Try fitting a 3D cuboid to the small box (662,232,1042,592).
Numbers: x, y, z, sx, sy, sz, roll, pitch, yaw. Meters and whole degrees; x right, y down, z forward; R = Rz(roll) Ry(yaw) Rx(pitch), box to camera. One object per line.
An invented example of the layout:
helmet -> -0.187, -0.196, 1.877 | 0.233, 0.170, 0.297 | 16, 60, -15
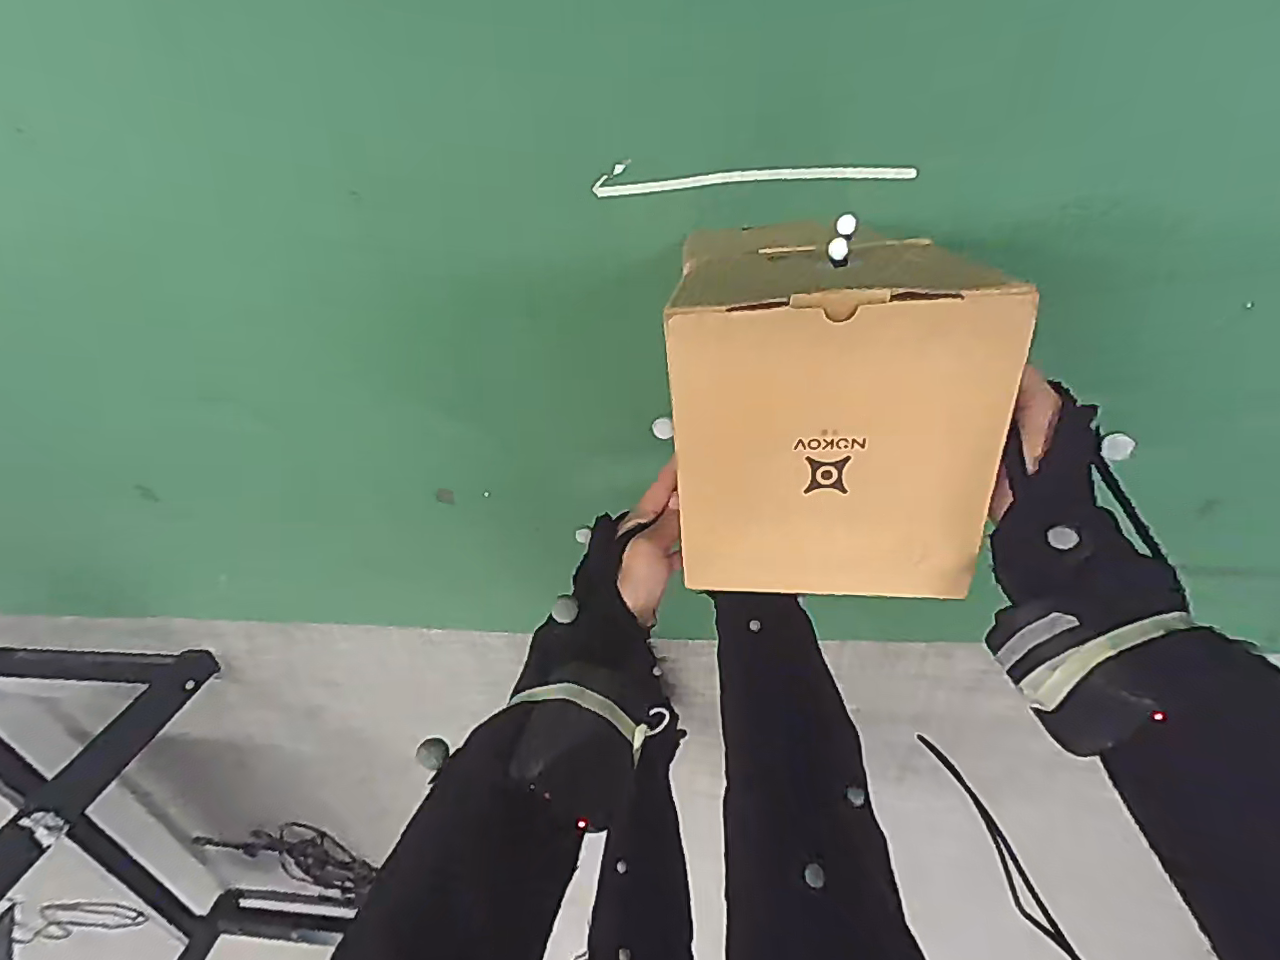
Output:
small box -> 0.112, -0.052, 0.350 | 0.168, 0.176, 0.179 | 0, 119, 12
